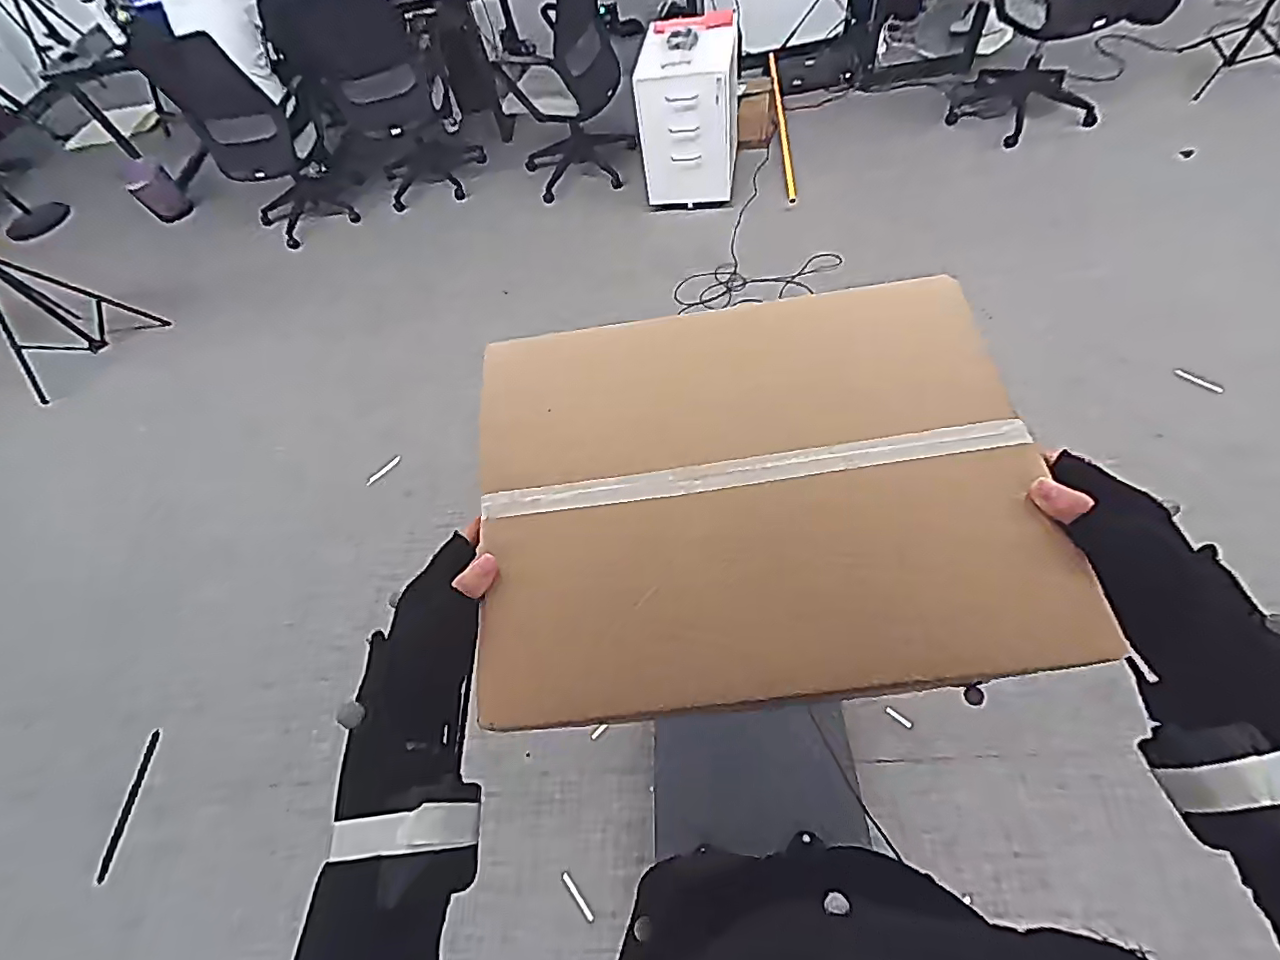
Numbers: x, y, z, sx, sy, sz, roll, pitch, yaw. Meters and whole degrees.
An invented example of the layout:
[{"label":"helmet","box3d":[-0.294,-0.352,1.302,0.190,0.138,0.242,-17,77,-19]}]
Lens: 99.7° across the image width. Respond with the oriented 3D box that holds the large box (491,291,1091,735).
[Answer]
[{"label":"large box","box3d":[0.097,0.062,0.551,0.408,0.320,0.320,-8,65,3]}]
